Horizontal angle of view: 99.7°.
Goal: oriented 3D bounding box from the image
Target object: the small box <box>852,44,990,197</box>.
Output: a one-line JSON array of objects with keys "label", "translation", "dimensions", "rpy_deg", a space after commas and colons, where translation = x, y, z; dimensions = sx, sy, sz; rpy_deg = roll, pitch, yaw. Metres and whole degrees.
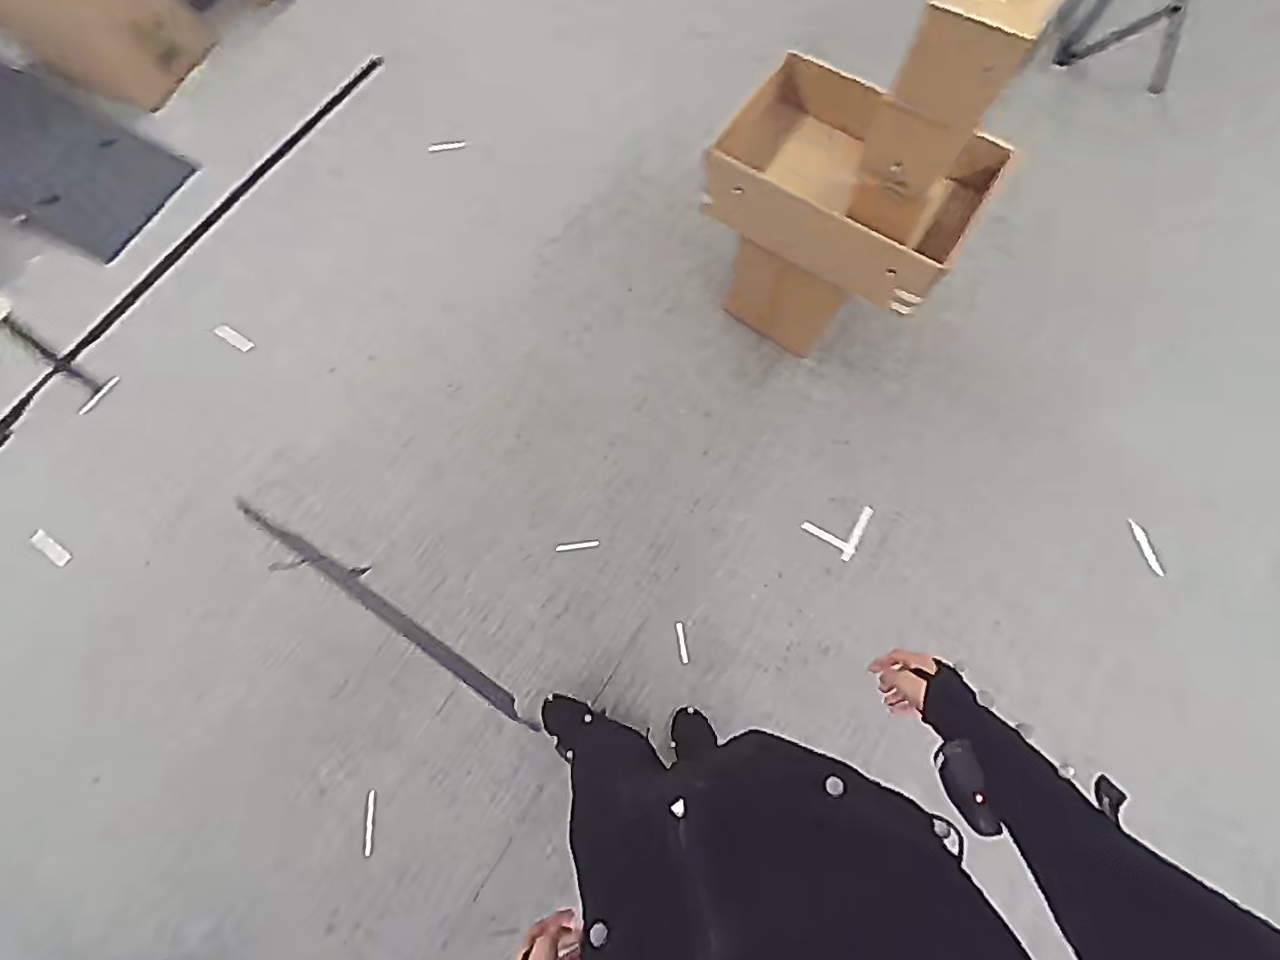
[{"label": "small box", "translation": [0.565, -0.733, 1.114], "dimensions": [0.168, 0.176, 0.179], "rpy_deg": [31, 77, 12]}]
